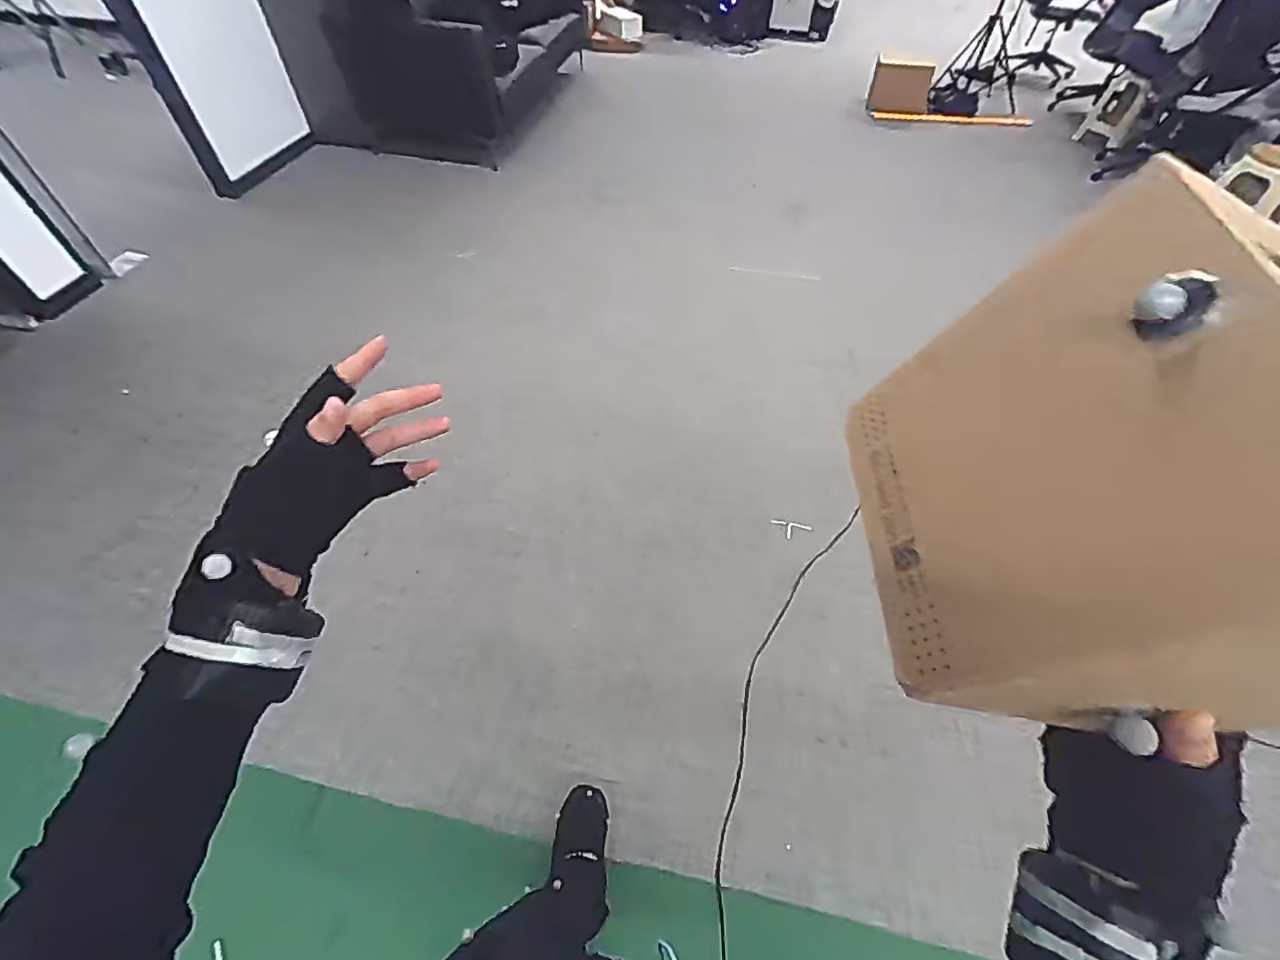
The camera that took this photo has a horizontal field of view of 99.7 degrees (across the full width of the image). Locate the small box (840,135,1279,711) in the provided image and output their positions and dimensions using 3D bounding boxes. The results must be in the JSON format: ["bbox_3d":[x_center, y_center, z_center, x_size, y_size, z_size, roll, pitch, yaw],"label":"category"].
[{"bbox_3d":[0.224,0.002,0.246,0.179,0.176,0.168,15,55,-20],"label":"small box"}]
